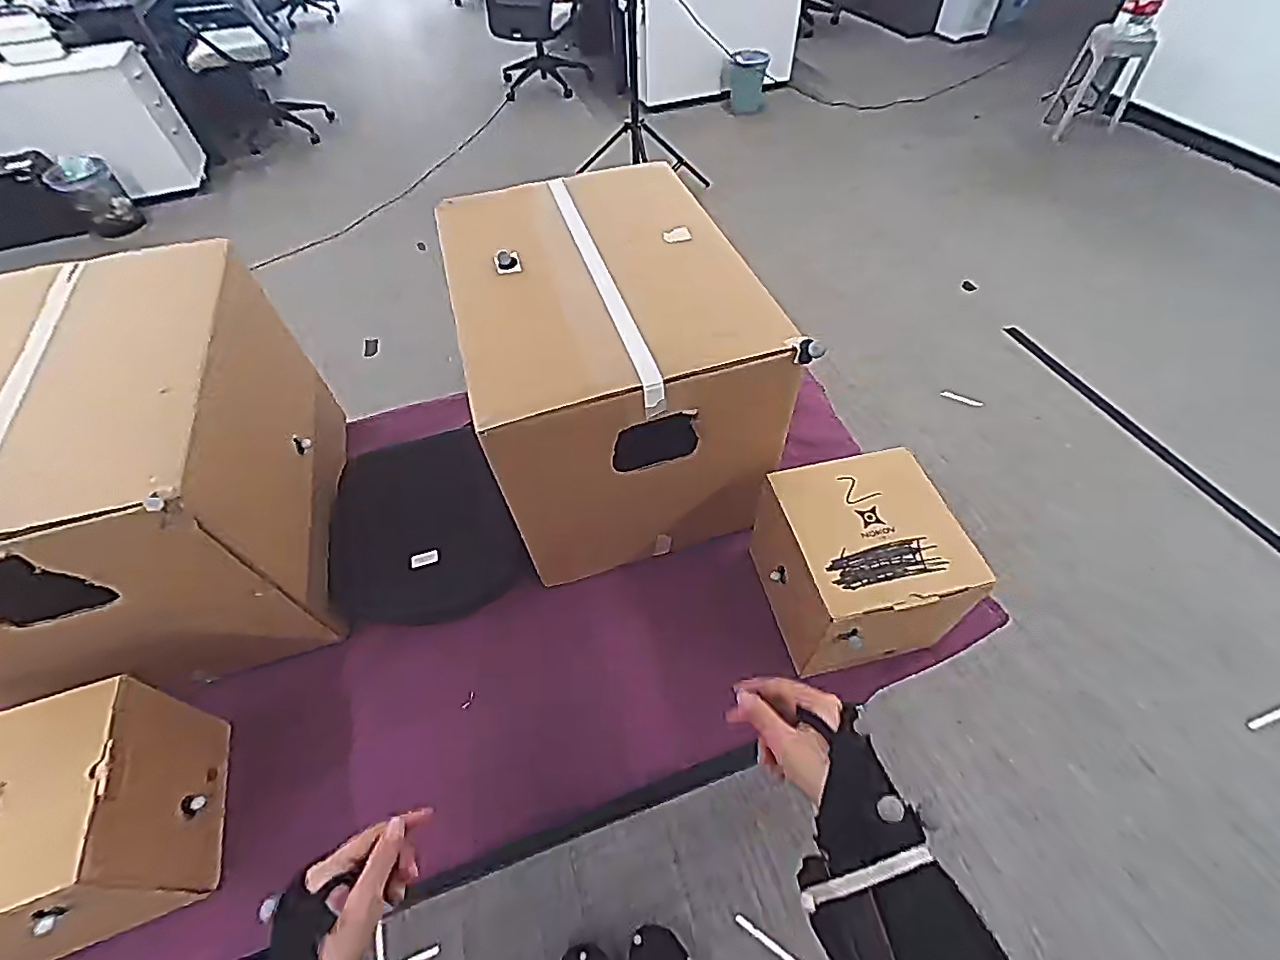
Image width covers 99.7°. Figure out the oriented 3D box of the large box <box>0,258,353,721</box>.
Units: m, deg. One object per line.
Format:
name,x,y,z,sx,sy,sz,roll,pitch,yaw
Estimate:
large box,-0.572,0.007,0.644,0.320,0.320,0.408,-17,57,-10
